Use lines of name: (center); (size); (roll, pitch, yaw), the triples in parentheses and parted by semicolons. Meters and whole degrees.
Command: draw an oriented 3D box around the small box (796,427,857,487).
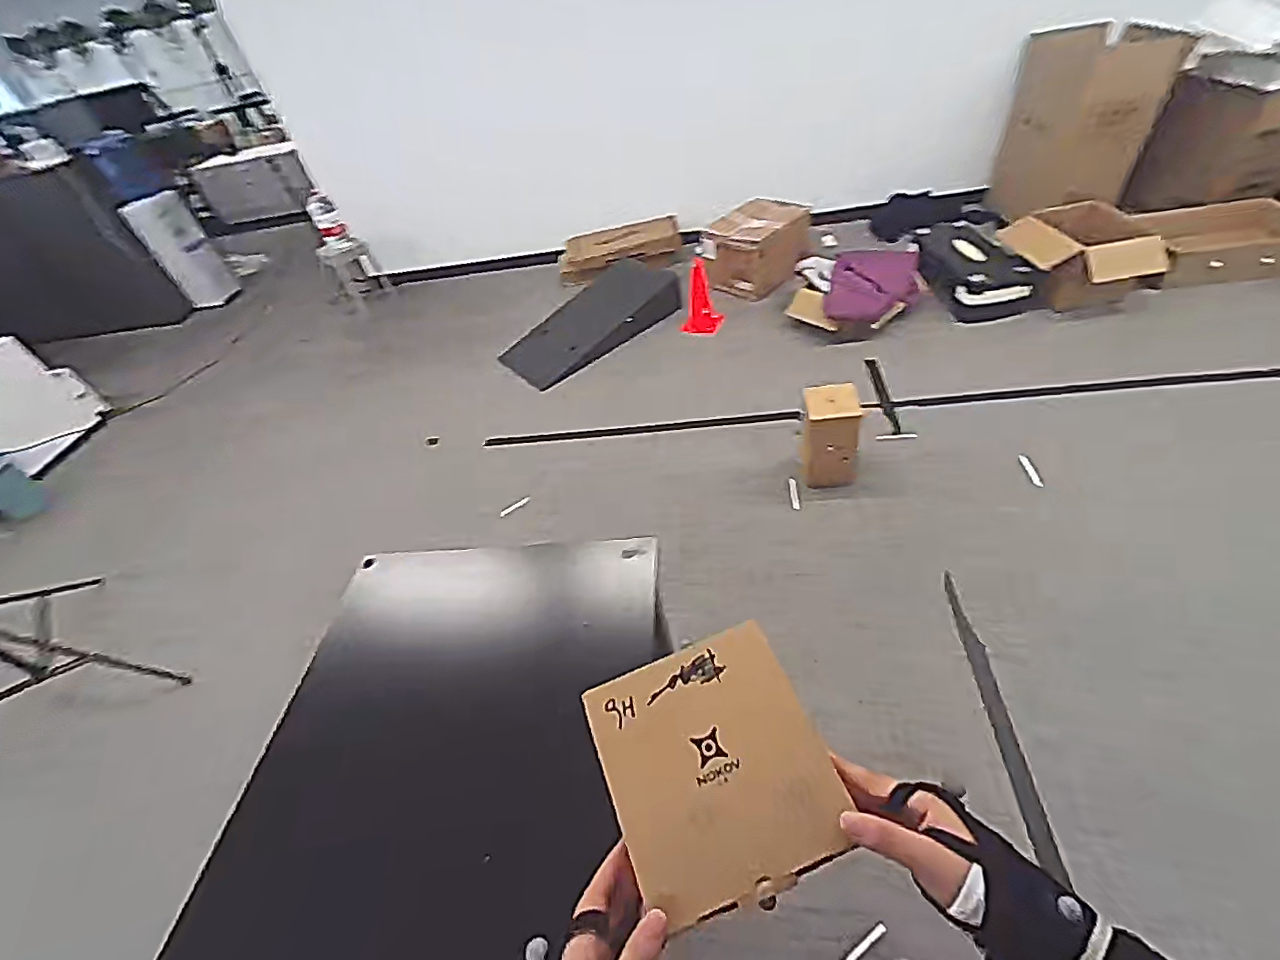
small box: (0.677, -0.089, 1.980); (0.179, 0.176, 0.168); (-5, 45, 9)

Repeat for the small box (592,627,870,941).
small box: (0.074, 0.264, 0.489); (0.168, 0.176, 0.179); (-21, 57, -5)

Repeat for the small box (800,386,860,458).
small box: (0.647, -0.199, 1.863); (0.168, 0.176, 0.179); (-5, 46, 10)
